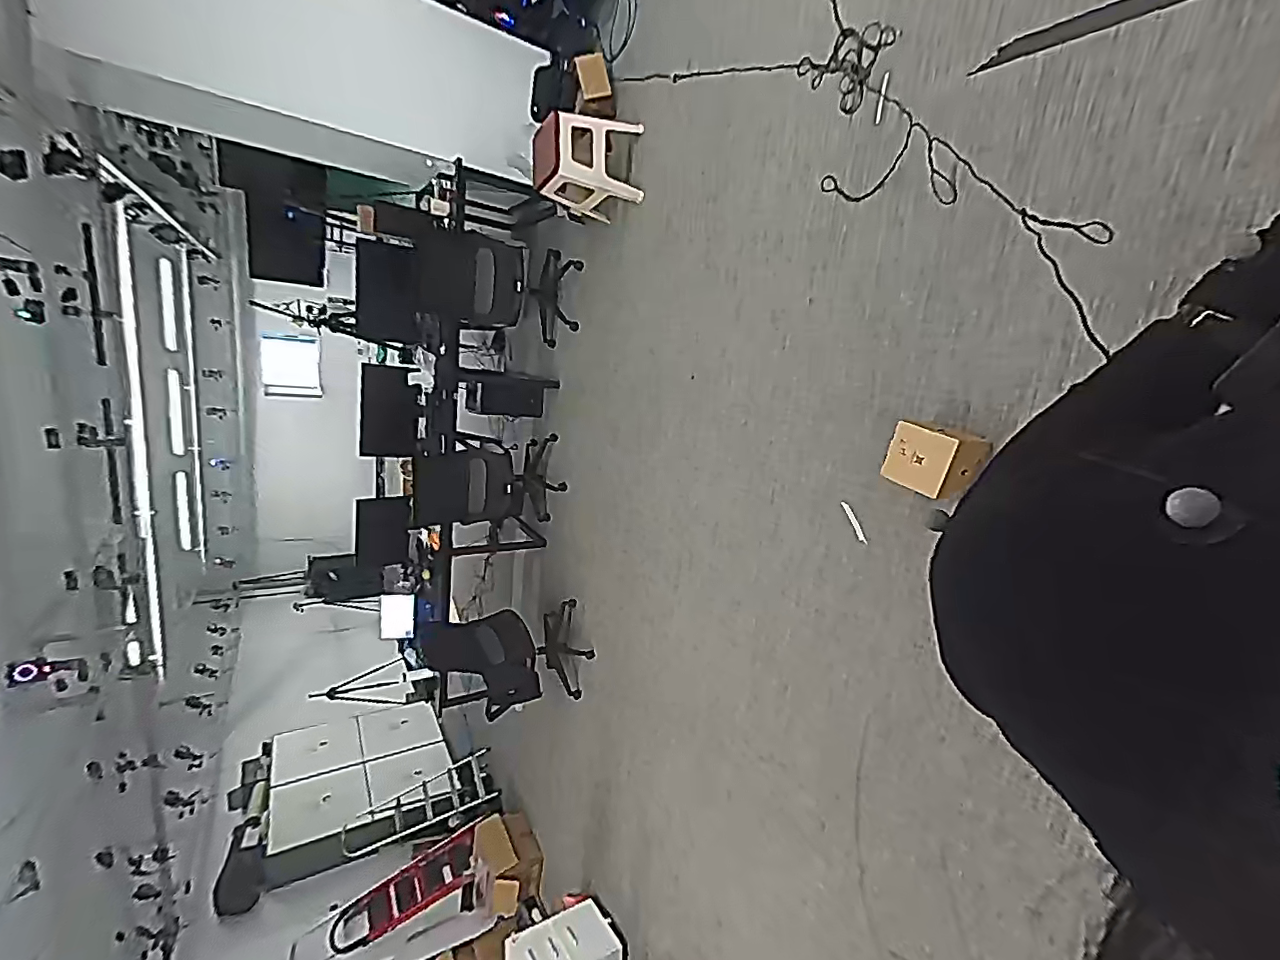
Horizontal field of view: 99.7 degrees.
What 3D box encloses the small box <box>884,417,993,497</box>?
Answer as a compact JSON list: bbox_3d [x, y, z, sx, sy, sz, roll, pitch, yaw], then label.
[{"bbox_3d":[0.812,-0.067,1.469,0.179,0.176,0.168,39,123,51],"label":"small box"}]
